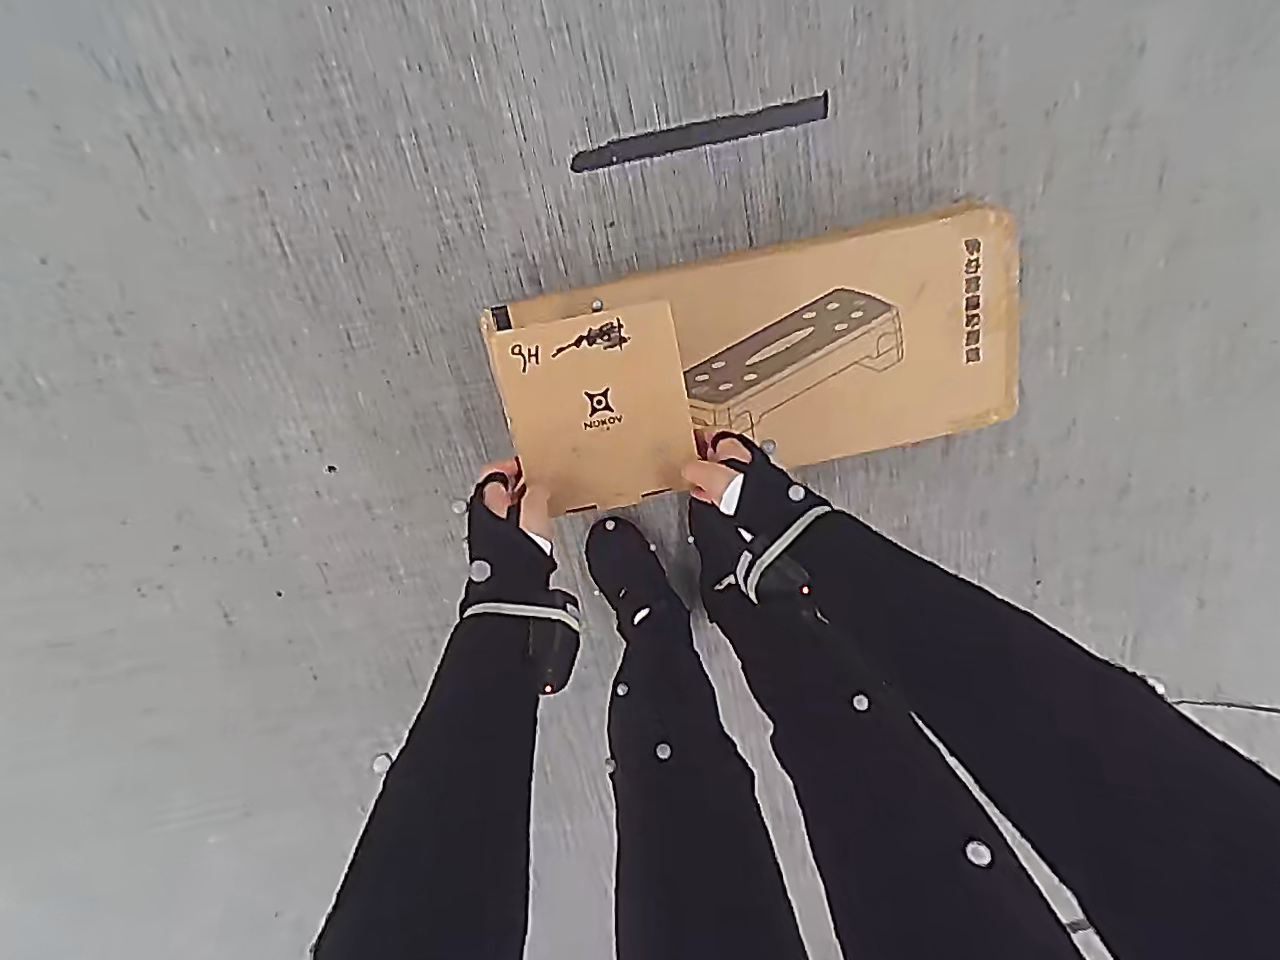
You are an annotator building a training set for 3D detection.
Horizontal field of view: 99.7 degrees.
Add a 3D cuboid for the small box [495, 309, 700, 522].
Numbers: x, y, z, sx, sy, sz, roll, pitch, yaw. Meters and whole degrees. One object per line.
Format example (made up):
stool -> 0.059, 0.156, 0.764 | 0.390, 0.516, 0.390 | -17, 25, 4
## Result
small box -> -0.042, -0.073, 0.578 | 0.168, 0.176, 0.179 | -12, 101, -4
